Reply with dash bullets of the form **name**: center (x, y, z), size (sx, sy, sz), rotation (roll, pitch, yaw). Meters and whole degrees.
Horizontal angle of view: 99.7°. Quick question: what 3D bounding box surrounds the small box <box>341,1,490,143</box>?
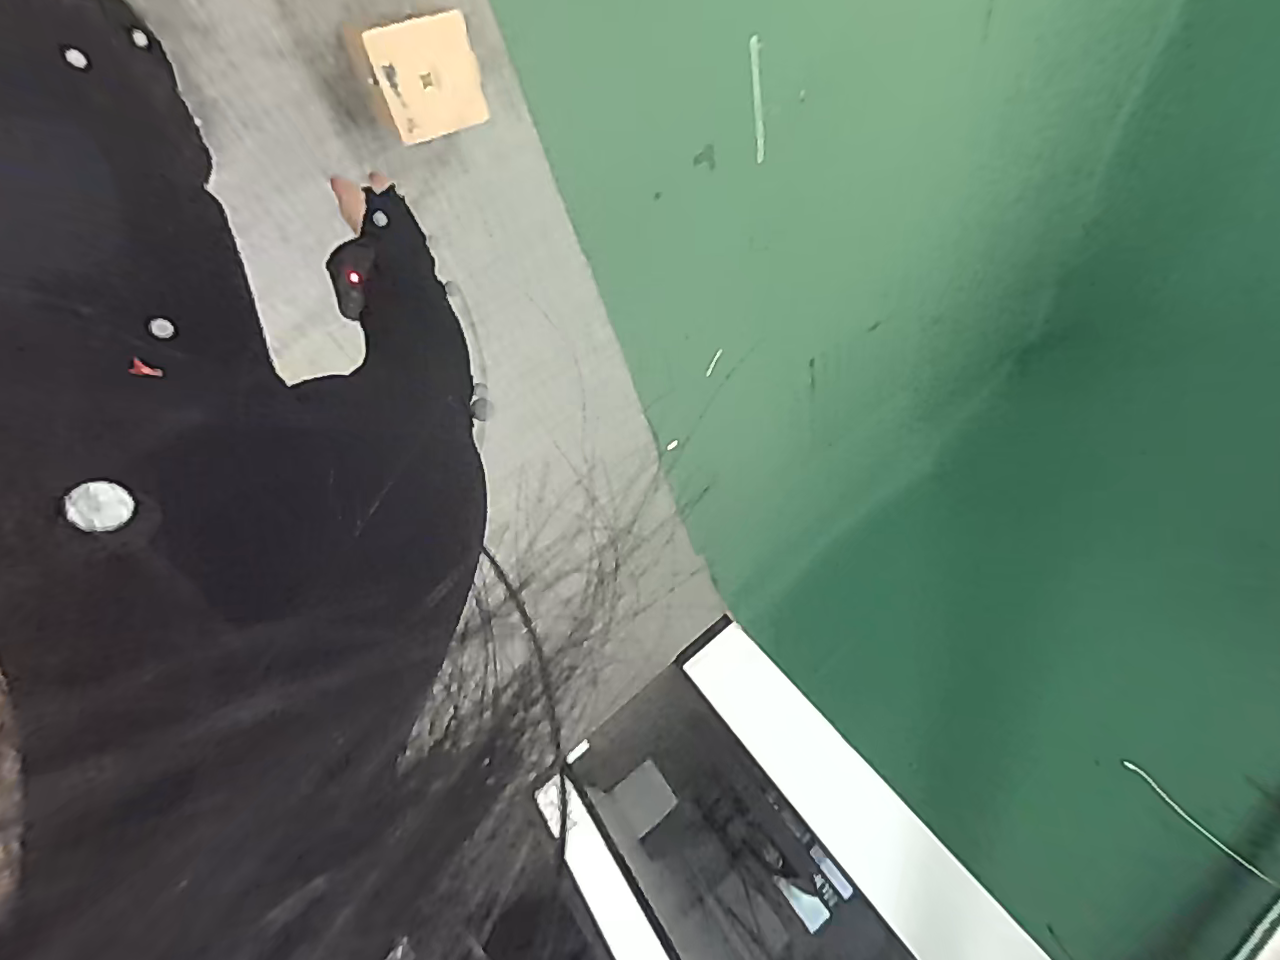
- **small box**: center (-0.407, -0.747, 0.985), size (0.179, 0.176, 0.168), rotation (-31, 143, -18)
